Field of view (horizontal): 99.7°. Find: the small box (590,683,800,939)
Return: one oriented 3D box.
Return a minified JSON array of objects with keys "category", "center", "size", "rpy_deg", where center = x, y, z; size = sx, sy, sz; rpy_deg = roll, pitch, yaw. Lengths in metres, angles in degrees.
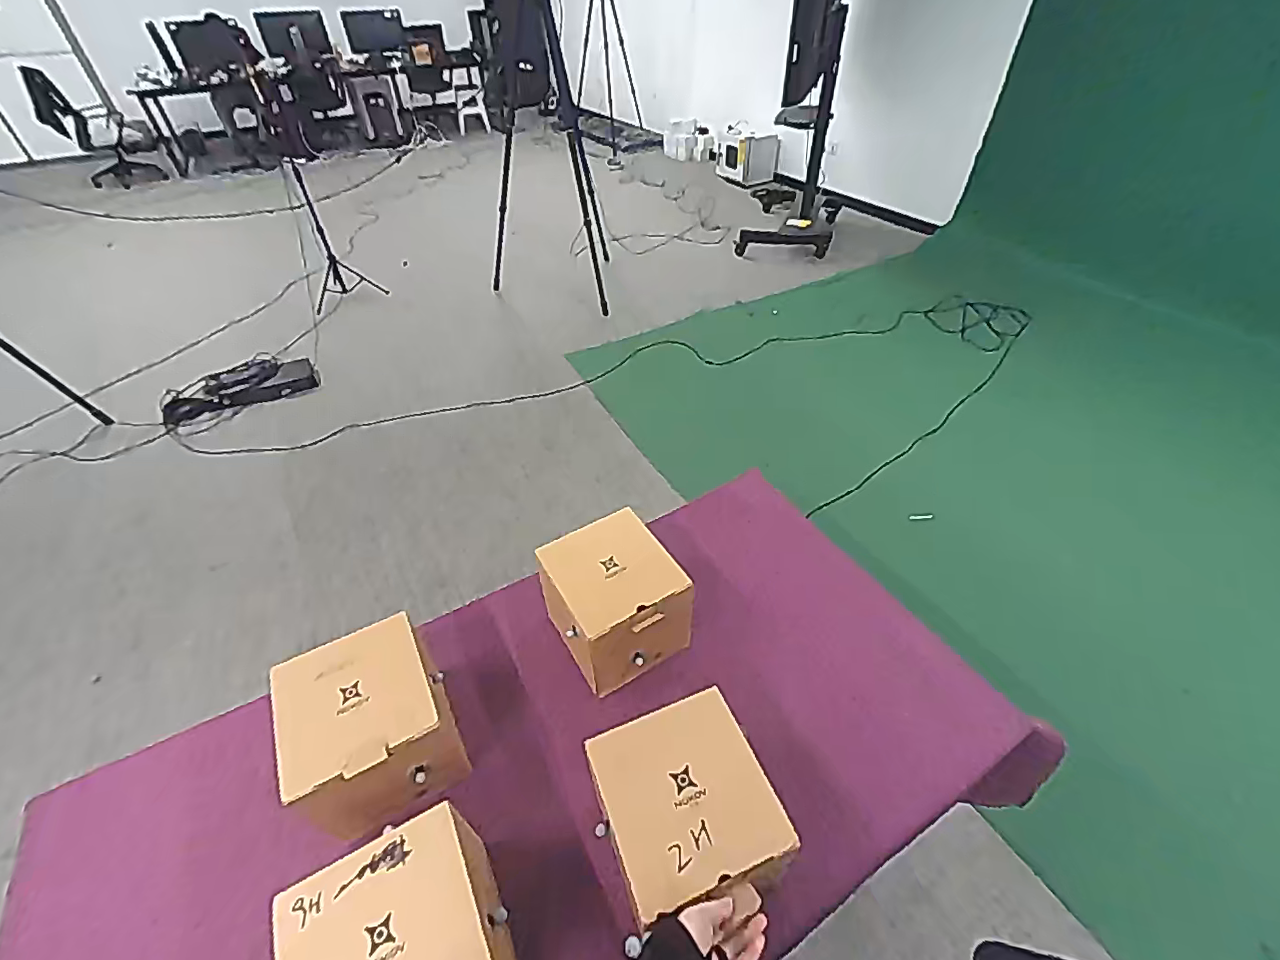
[{"category":"small box","center":[0.052,0.372,0.613],"size":[0.168,0.176,0.179],"rpy_deg":[-18,45,-14]}]

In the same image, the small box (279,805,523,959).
[{"category":"small box","center":[-0.219,0.467,0.528],"size":[0.168,0.176,0.179],"rpy_deg":[-22,47,-20]}]

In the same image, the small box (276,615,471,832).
[{"category":"small box","center":[-0.333,0.315,0.694],"size":[0.168,0.176,0.179],"rpy_deg":[-22,47,-21]}]

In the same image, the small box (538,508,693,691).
[{"category":"small box","center":[-0.038,0.180,0.822],"size":[0.168,0.176,0.179],"rpy_deg":[-25,49,-22]}]
